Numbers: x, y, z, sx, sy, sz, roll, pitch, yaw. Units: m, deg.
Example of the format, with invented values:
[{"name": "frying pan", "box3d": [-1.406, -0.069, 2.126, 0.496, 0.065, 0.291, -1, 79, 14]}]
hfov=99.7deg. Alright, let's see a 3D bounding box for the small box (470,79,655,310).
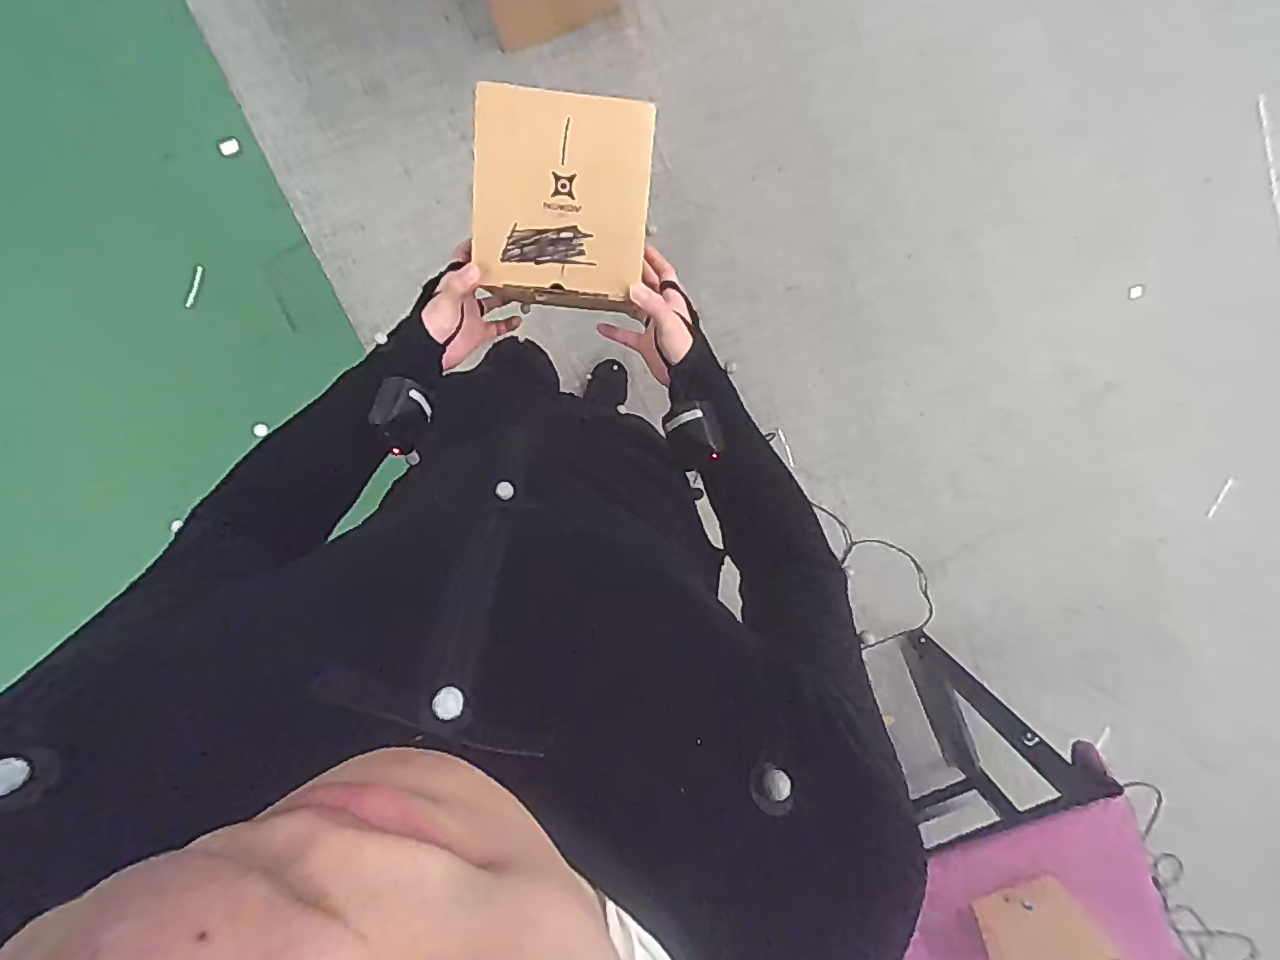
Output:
[{"name": "small box", "box3d": [-0.079, -0.287, 0.588, 0.168, 0.176, 0.179, 5, 102, -5]}]
